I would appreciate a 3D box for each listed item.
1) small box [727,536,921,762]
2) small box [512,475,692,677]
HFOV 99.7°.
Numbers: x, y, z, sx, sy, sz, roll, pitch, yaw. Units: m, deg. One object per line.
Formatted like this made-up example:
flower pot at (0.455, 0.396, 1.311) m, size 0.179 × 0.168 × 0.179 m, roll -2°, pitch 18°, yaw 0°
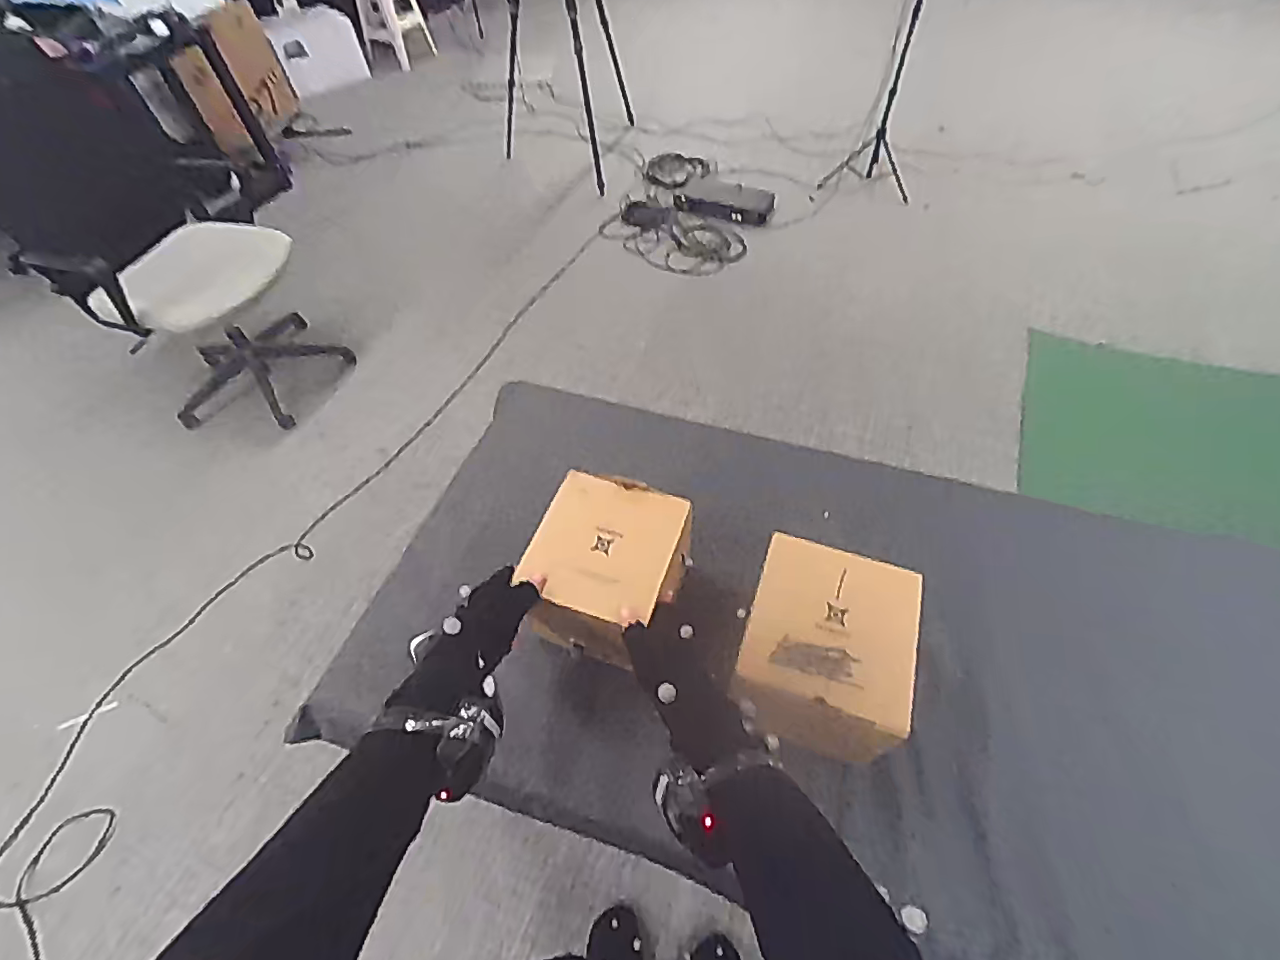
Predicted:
small box at (0.203, 0.199, 0.624) m, size 0.168 × 0.176 × 0.179 m, roll 16°, pitch 55°, yaw 14°
small box at (-0.037, 0.125, 0.695) m, size 0.168 × 0.176 × 0.179 m, roll 14°, pitch 57°, yaw 14°
